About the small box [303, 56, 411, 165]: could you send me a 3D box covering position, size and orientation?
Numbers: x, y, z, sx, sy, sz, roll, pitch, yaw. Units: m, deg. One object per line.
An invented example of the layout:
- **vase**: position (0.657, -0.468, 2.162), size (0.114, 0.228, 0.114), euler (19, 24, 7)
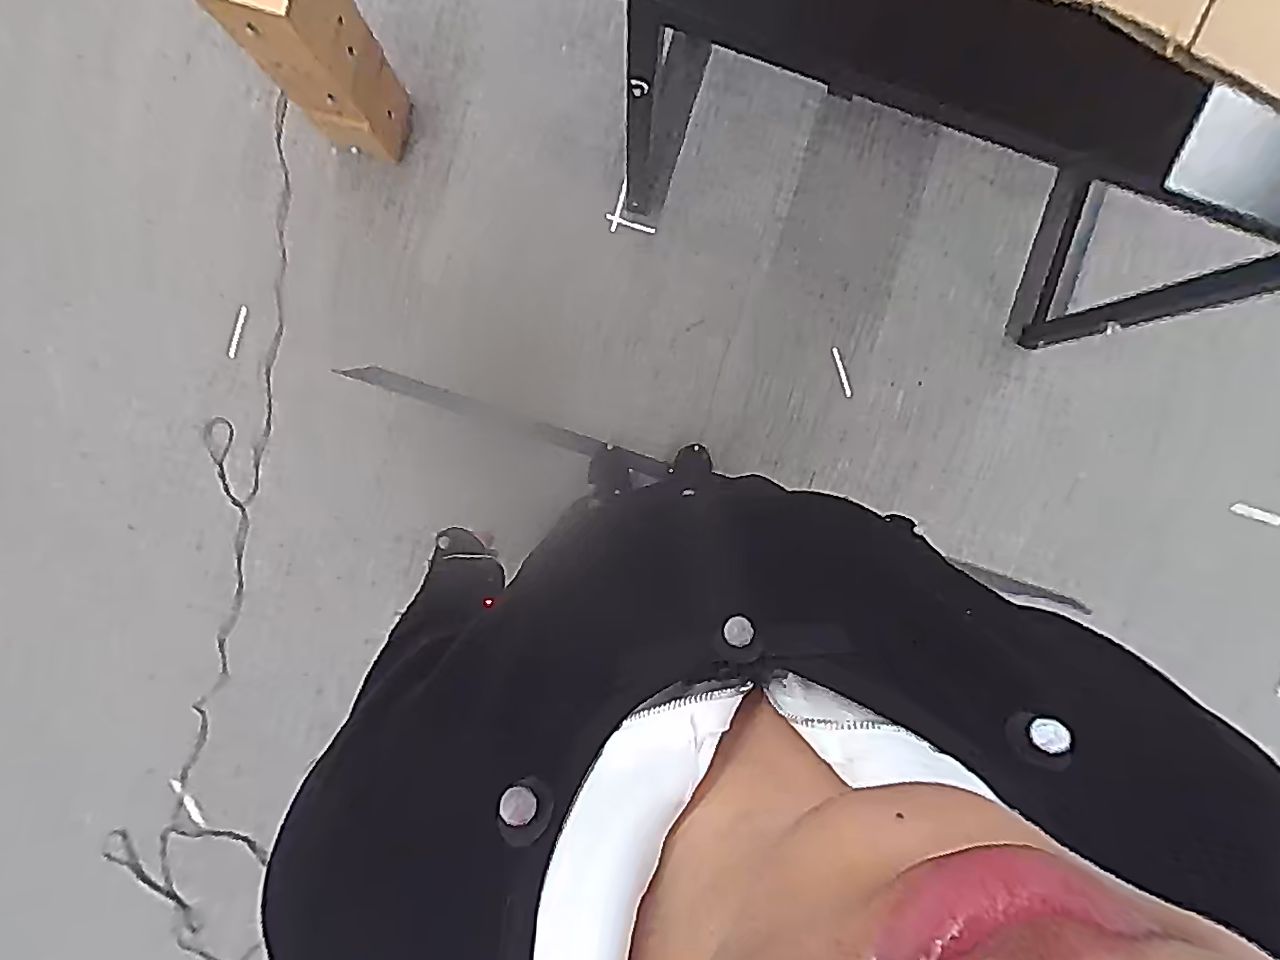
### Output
- **small box**: position (-0.689, -0.925, 1.337), size (0.168, 0.176, 0.179), euler (14, 94, -2)

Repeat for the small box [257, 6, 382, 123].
- **small box**: position (-0.686, -0.921, 1.175), size (0.168, 0.176, 0.179), euler (10, 92, -4)

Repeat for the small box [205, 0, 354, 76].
- **small box**: position (-0.677, -0.907, 1.012), size (0.179, 0.176, 0.168), euler (14, 93, -2)
